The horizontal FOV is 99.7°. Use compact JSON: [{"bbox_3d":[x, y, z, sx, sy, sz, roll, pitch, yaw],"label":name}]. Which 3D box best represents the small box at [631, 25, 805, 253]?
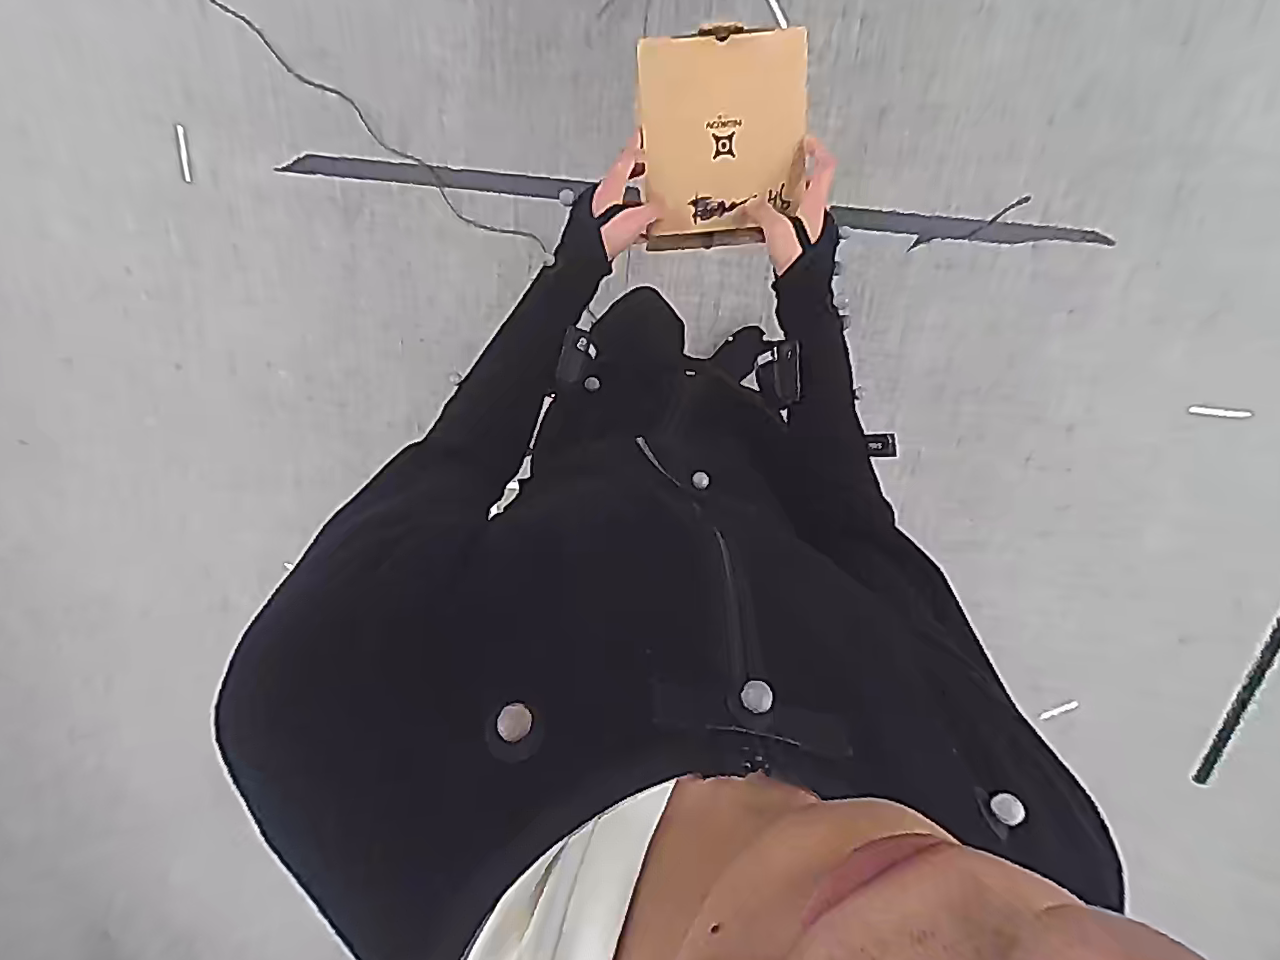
[{"bbox_3d":[0.077,-0.363,0.608,0.168,0.176,0.179,-4,108,0],"label":"small box"}]
